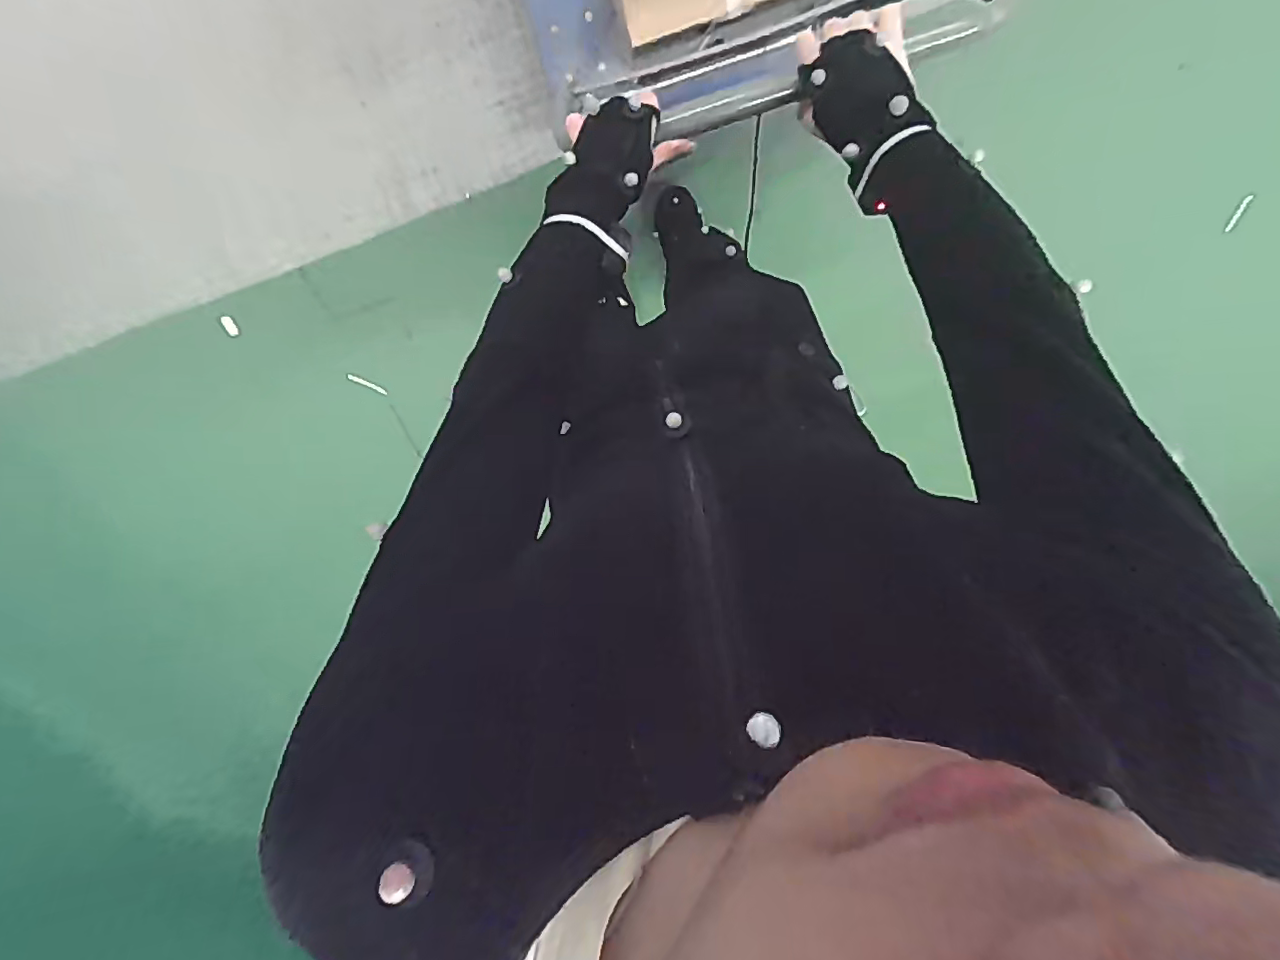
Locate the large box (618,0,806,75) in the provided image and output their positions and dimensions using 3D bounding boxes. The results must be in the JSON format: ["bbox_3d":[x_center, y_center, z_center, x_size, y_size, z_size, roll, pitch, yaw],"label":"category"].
[{"bbox_3d":[0.082,-0.923,0.825,0.320,0.320,0.408,-15,120,7],"label":"large box"}]
